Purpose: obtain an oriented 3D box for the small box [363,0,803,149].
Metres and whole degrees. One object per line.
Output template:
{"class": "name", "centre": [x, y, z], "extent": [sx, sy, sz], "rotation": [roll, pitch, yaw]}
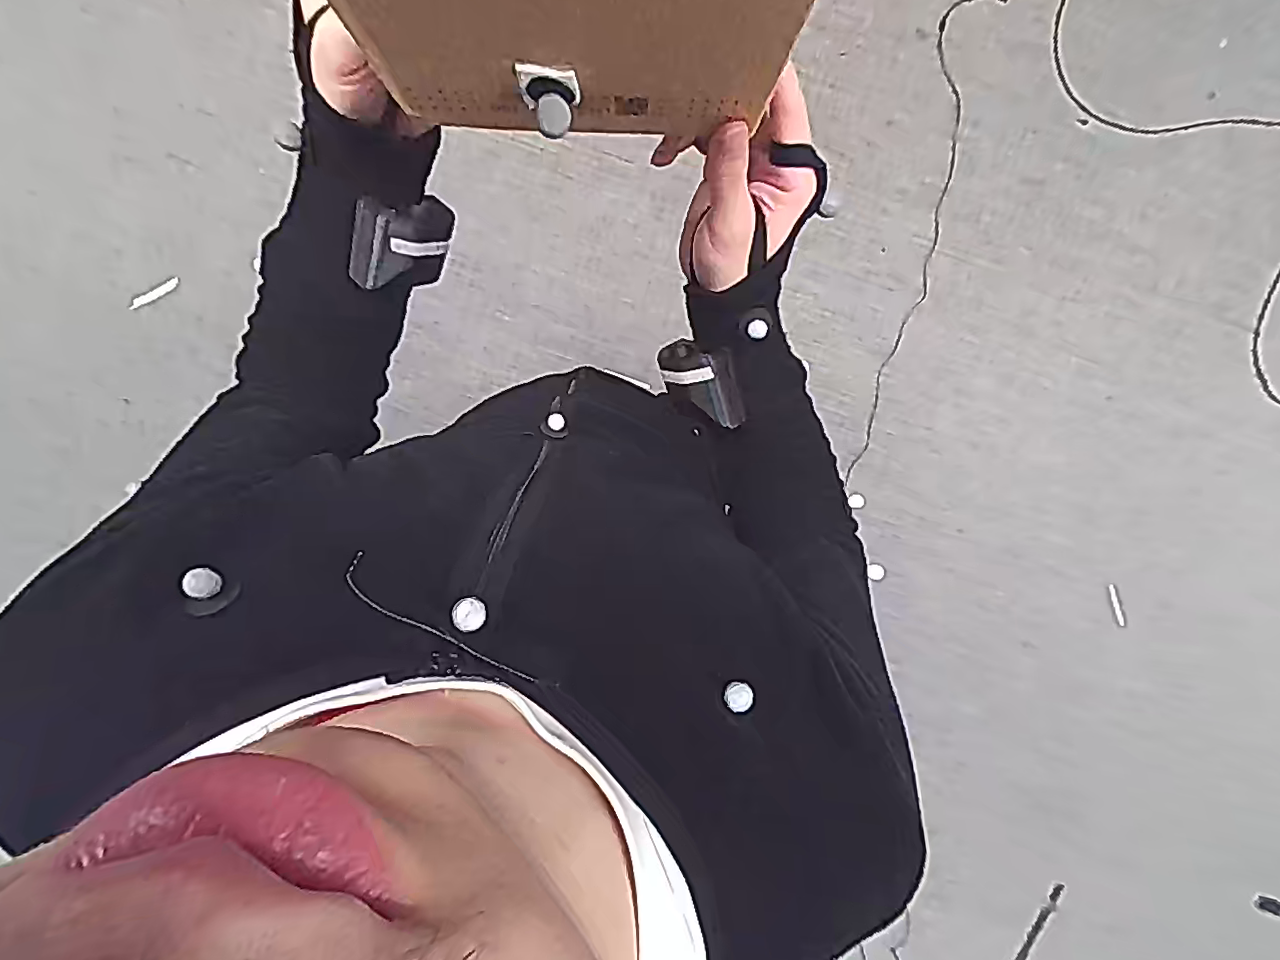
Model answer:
{"class": "small box", "centre": [-0.023, -0.250, 0.186], "extent": [0.168, 0.176, 0.179], "rotation": [0, 96, -1]}
